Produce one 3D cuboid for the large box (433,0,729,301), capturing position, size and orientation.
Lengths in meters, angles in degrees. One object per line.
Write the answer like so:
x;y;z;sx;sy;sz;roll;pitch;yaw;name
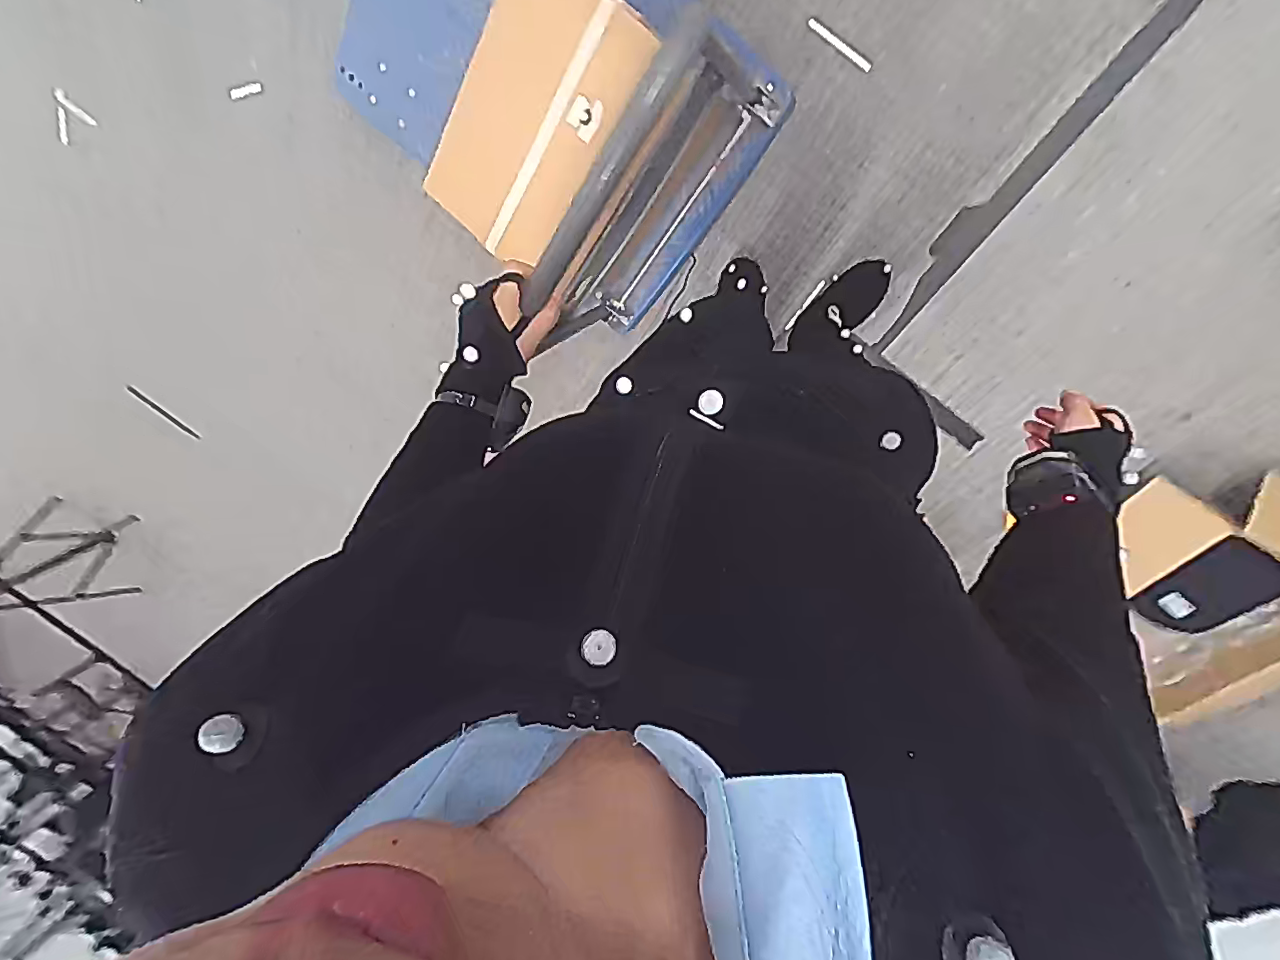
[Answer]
-0.098;-0.604;0.988;0.320;0.320;0.408;40;122;-4;large box
